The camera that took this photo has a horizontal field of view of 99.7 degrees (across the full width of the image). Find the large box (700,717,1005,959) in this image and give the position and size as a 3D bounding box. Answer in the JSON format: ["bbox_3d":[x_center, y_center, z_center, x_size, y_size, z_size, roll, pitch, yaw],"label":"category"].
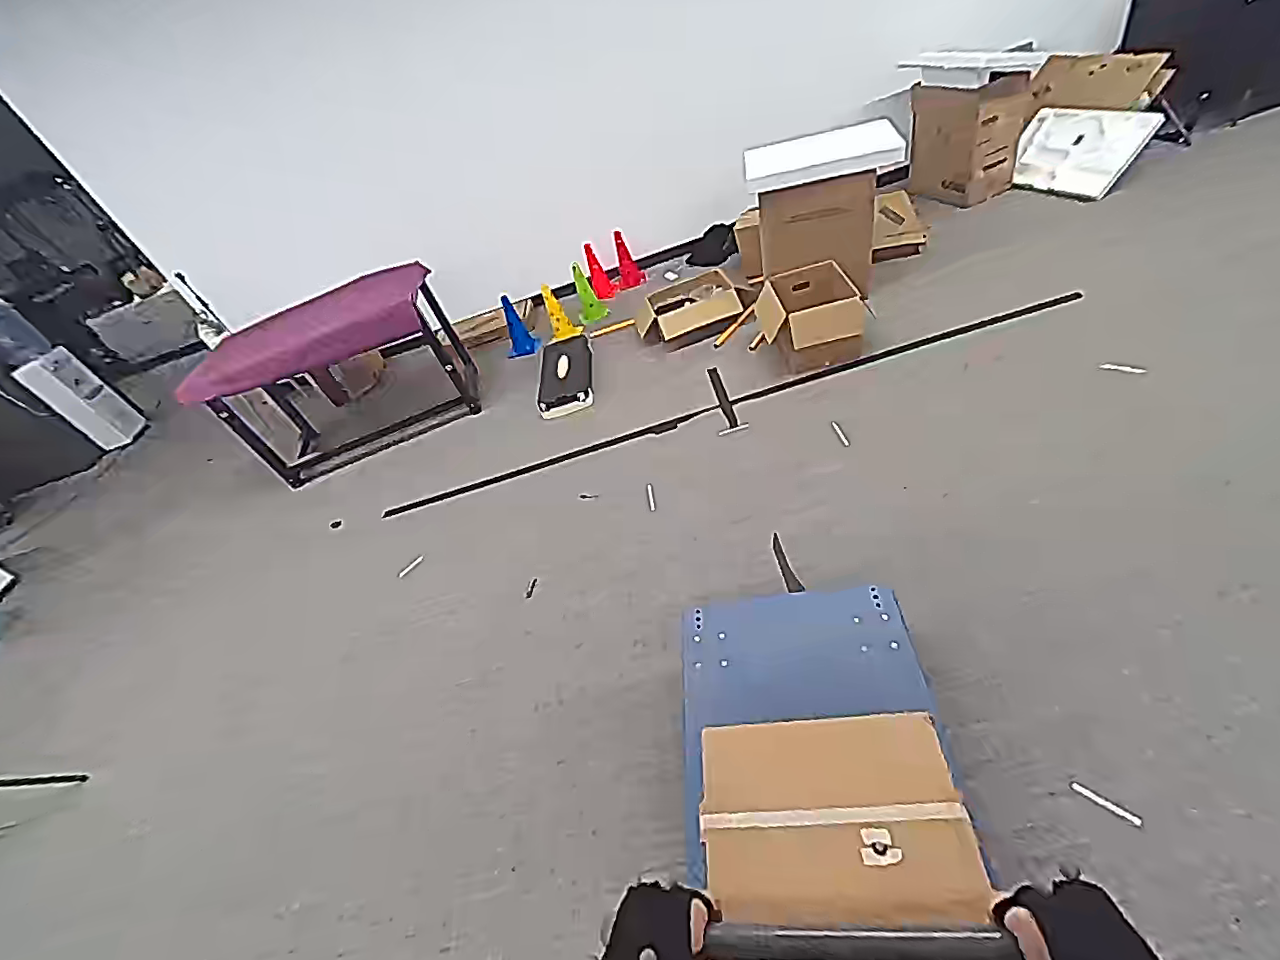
[{"bbox_3d":[0.336,0.655,0.957,0.408,0.320,0.320,-10,42,12],"label":"large box"}]
